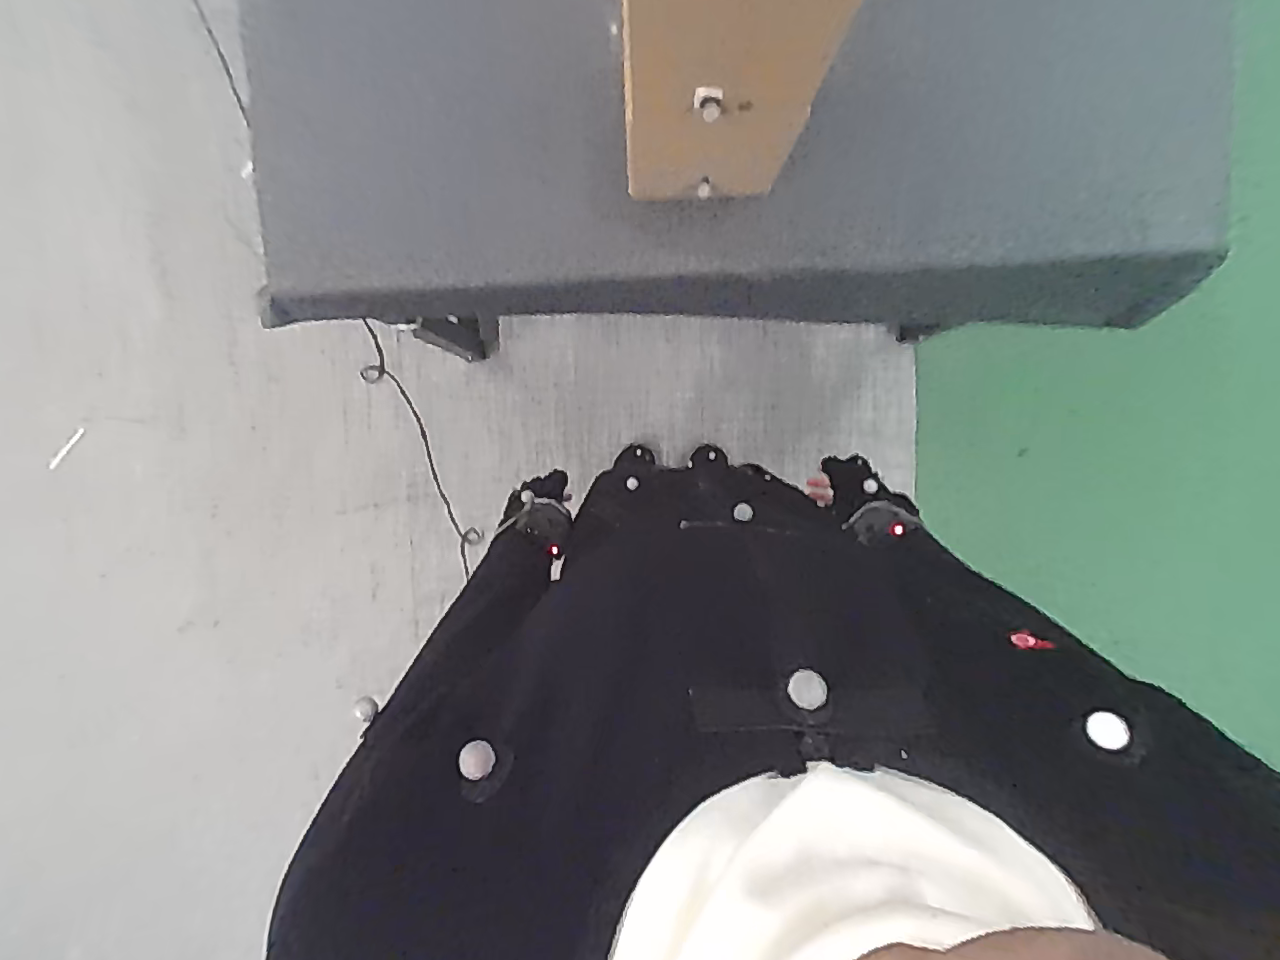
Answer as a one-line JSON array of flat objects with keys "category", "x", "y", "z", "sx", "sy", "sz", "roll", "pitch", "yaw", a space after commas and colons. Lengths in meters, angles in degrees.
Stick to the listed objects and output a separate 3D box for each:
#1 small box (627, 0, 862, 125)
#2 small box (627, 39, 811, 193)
[{"category": "small box", "x": 0.072, "y": -0.420, "z": 0.426, "sx": 0.168, "sy": 0.176, "sz": 0.179, "roll": -2, "pitch": 96, "yaw": 3}, {"category": "small box", "x": 0.075, "y": -0.433, "z": 0.588, "sx": 0.179, "sy": 0.176, "sz": 0.168, "roll": -1, "pitch": 94, "yaw": 0}]
